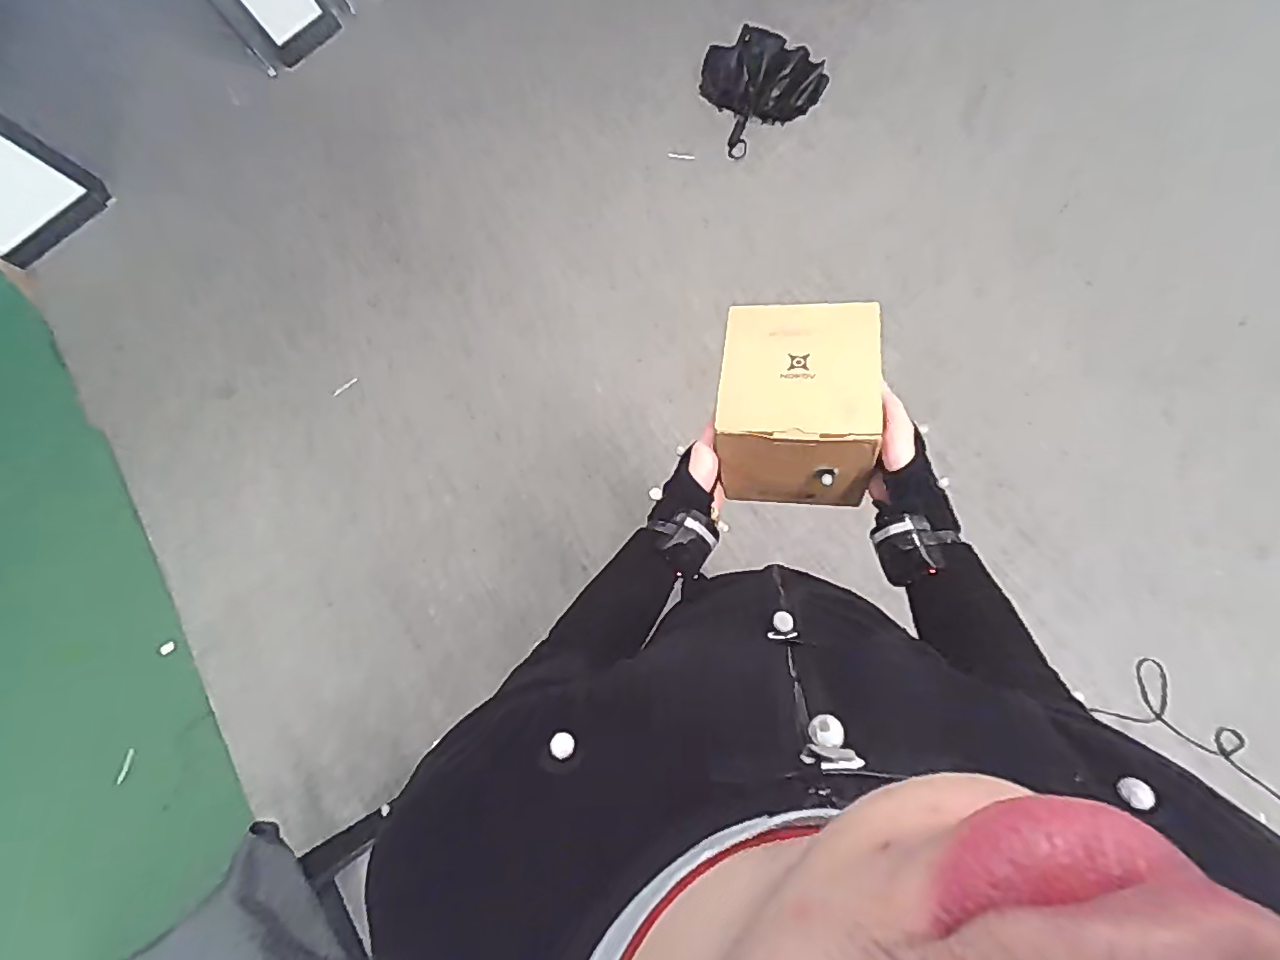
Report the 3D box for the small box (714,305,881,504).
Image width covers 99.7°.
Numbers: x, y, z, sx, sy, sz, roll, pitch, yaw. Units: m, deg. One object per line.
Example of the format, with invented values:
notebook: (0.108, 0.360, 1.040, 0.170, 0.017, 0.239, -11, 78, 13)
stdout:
small box: (0.185, -0.084, 0.646, 0.168, 0.176, 0.179, 4, 62, 14)
